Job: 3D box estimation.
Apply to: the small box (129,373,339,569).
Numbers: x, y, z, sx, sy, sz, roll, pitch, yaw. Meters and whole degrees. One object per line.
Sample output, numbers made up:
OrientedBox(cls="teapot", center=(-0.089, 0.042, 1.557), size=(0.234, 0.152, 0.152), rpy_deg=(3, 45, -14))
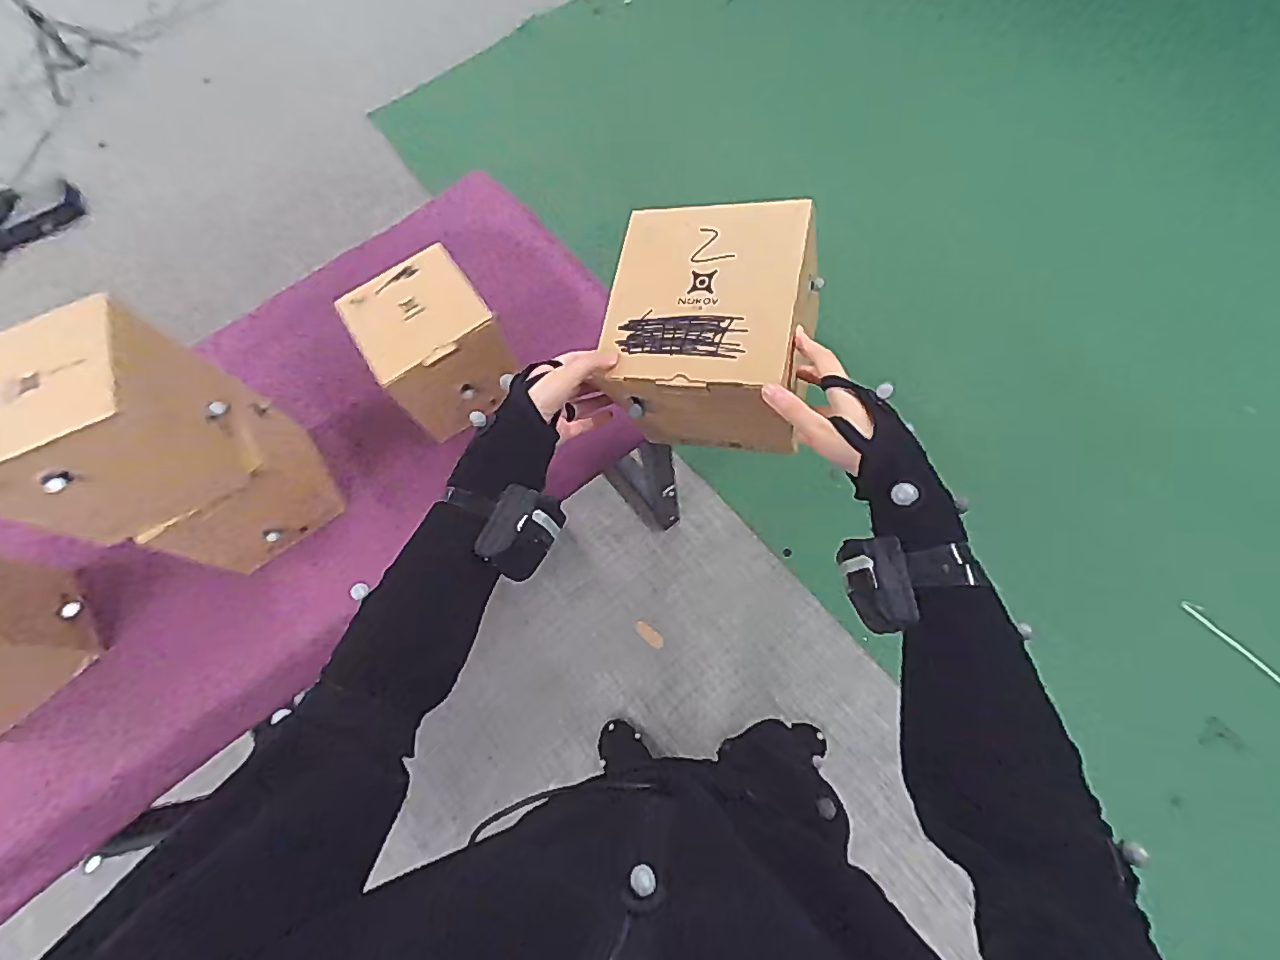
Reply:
OrientedBox(cls="small box", center=(-0.559, -0.004, 0.740), size=(0.168, 0.176, 0.179), rpy_deg=(-35, 69, -9))

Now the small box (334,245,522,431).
OrientedBox(cls="small box", center=(-0.298, -0.193, 0.792), size=(0.168, 0.176, 0.179), rpy_deg=(-34, 69, -8))

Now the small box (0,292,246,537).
OrientedBox(cls="small box", center=(-0.581, -0.059, 0.587), size=(0.179, 0.176, 0.168), rpy_deg=(-26, 67, -5))

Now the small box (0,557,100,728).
OrientedBox(cls="small box", center=(-0.864, 0.211, 0.683), size=(0.179, 0.176, 0.168), rpy_deg=(-41, 70, -12))
